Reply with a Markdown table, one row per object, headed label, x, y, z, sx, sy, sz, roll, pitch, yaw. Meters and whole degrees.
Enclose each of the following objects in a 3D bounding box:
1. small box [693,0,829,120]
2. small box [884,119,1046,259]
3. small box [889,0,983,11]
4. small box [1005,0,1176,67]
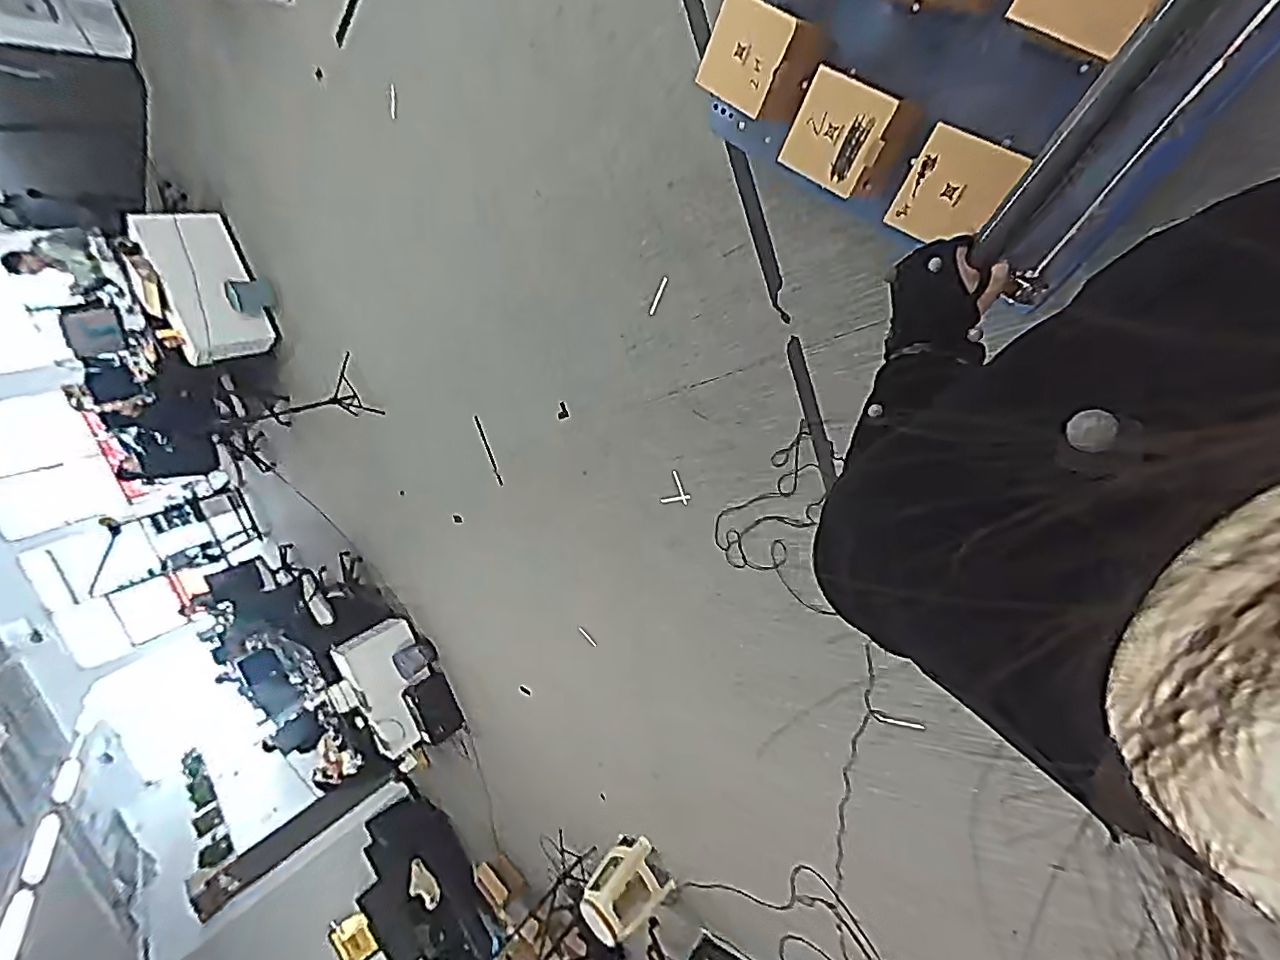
| label | x | y | z | sx | sy | sz | roll | pitch | yaw |
| --- | --- | --- | --- | --- | --- | --- | --- | --- | --- |
| small box | 0.247 | -0.863 | 1.104 | 0.179 | 0.176 | 0.168 | 43 | 135 | 17 |
| small box | 0.584 | -0.520 | 0.969 | 0.179 | 0.176 | 0.168 | 40 | 132 | 21 |
| small box | 0.493 | -0.880 | 0.866 | 0.179 | 0.176 | 0.168 | 33 | 130 | 27 |
| small box | 0.679 | -0.726 | 0.776 | 0.179 | 0.176 | 0.168 | 43 | 134 | 19 |
